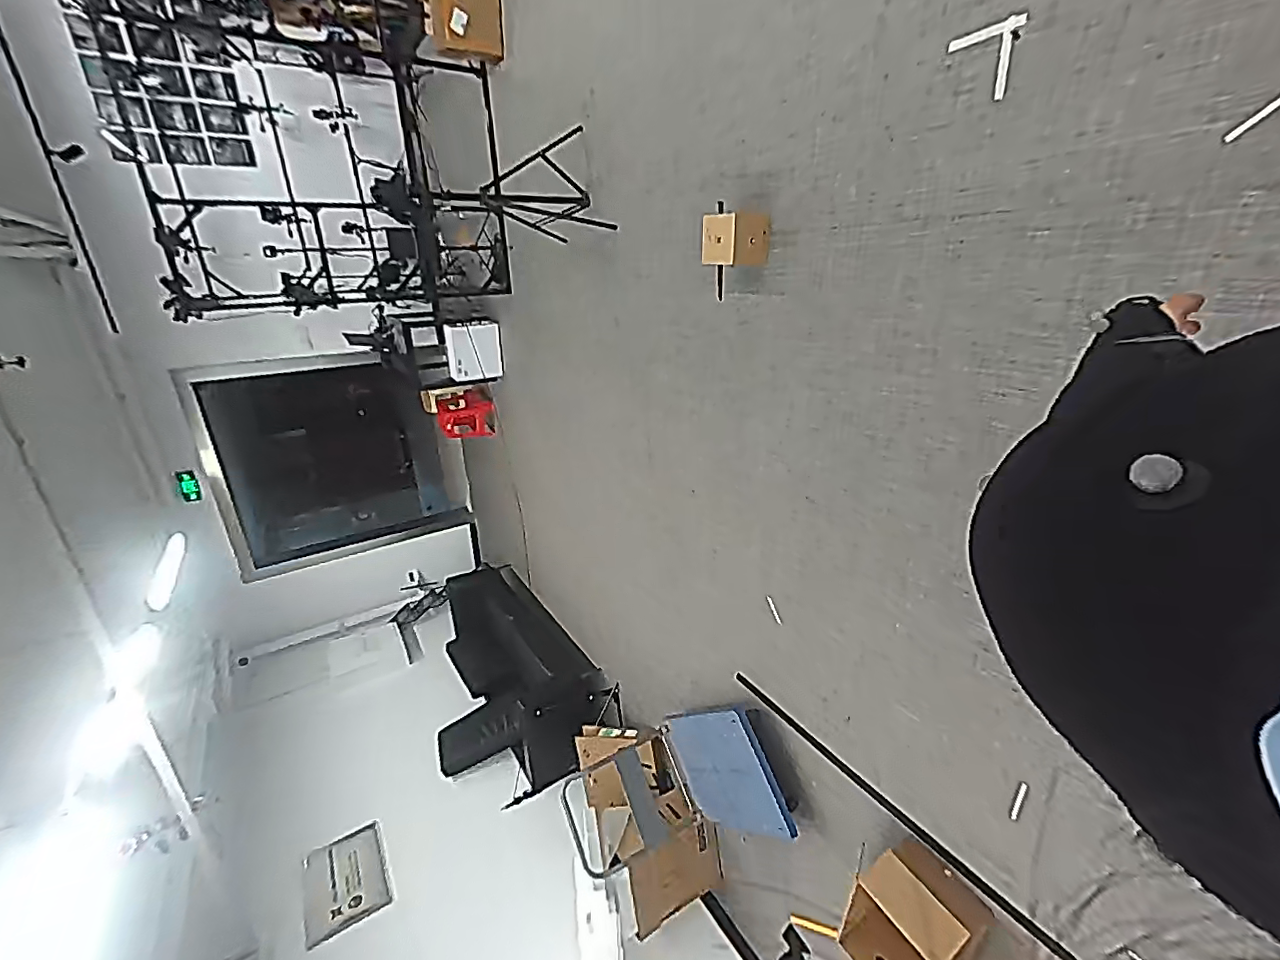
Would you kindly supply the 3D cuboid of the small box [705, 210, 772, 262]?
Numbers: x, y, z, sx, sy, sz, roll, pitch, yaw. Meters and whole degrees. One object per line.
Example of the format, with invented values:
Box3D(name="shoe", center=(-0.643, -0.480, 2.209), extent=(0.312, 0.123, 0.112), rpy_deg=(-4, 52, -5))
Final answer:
Box3D(name="small box", center=(0.356, -0.885, 1.957), extent=(0.179, 0.176, 0.168), rpy_deg=(33, 130, 51))
